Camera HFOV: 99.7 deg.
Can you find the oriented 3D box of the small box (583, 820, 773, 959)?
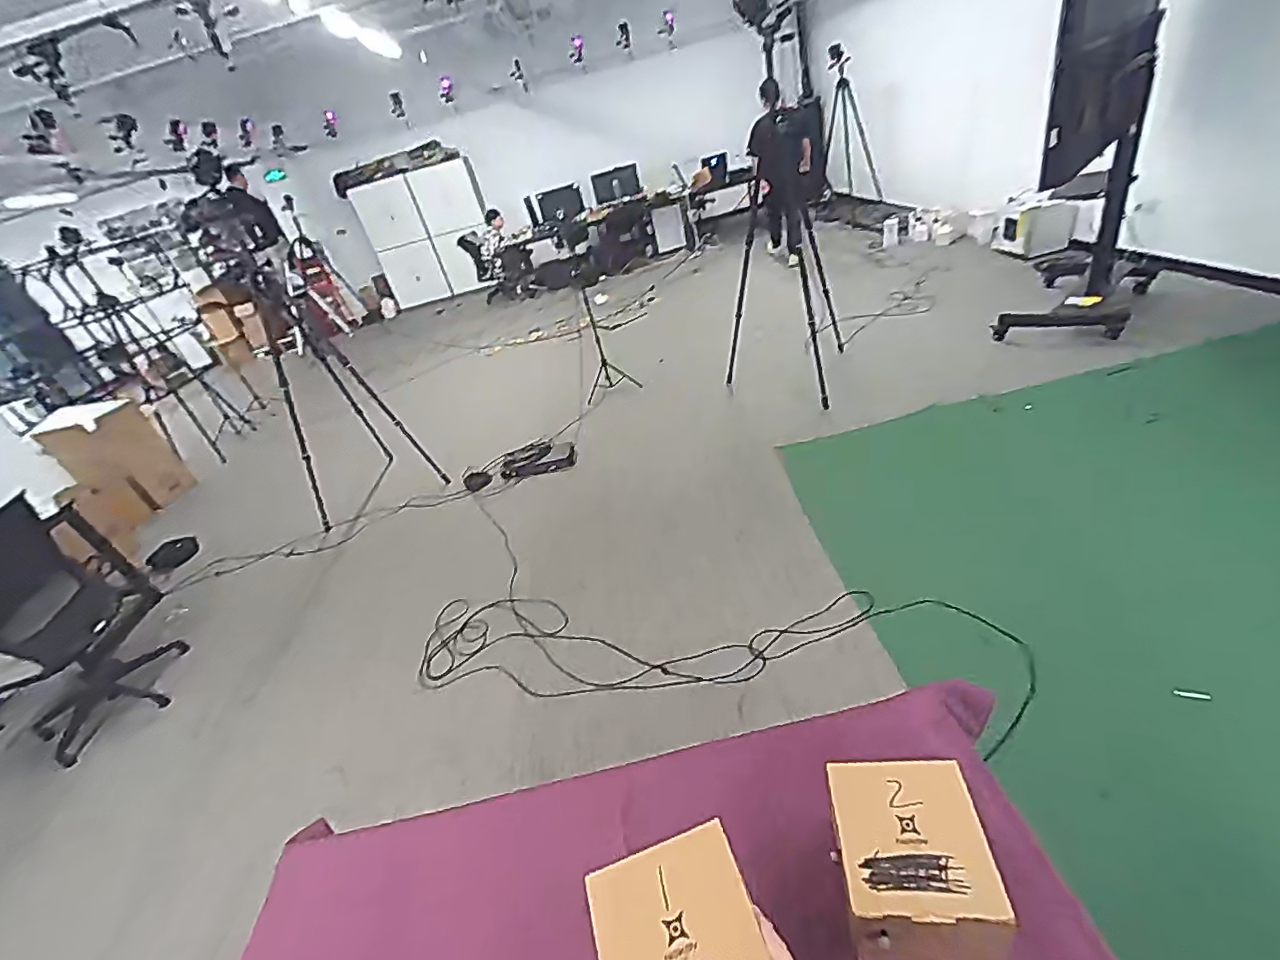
[{"bbox_3d":[0.054,0.520,0.588,0.168,0.176,0.179,-21,37,-4],"label":"small box"}]
